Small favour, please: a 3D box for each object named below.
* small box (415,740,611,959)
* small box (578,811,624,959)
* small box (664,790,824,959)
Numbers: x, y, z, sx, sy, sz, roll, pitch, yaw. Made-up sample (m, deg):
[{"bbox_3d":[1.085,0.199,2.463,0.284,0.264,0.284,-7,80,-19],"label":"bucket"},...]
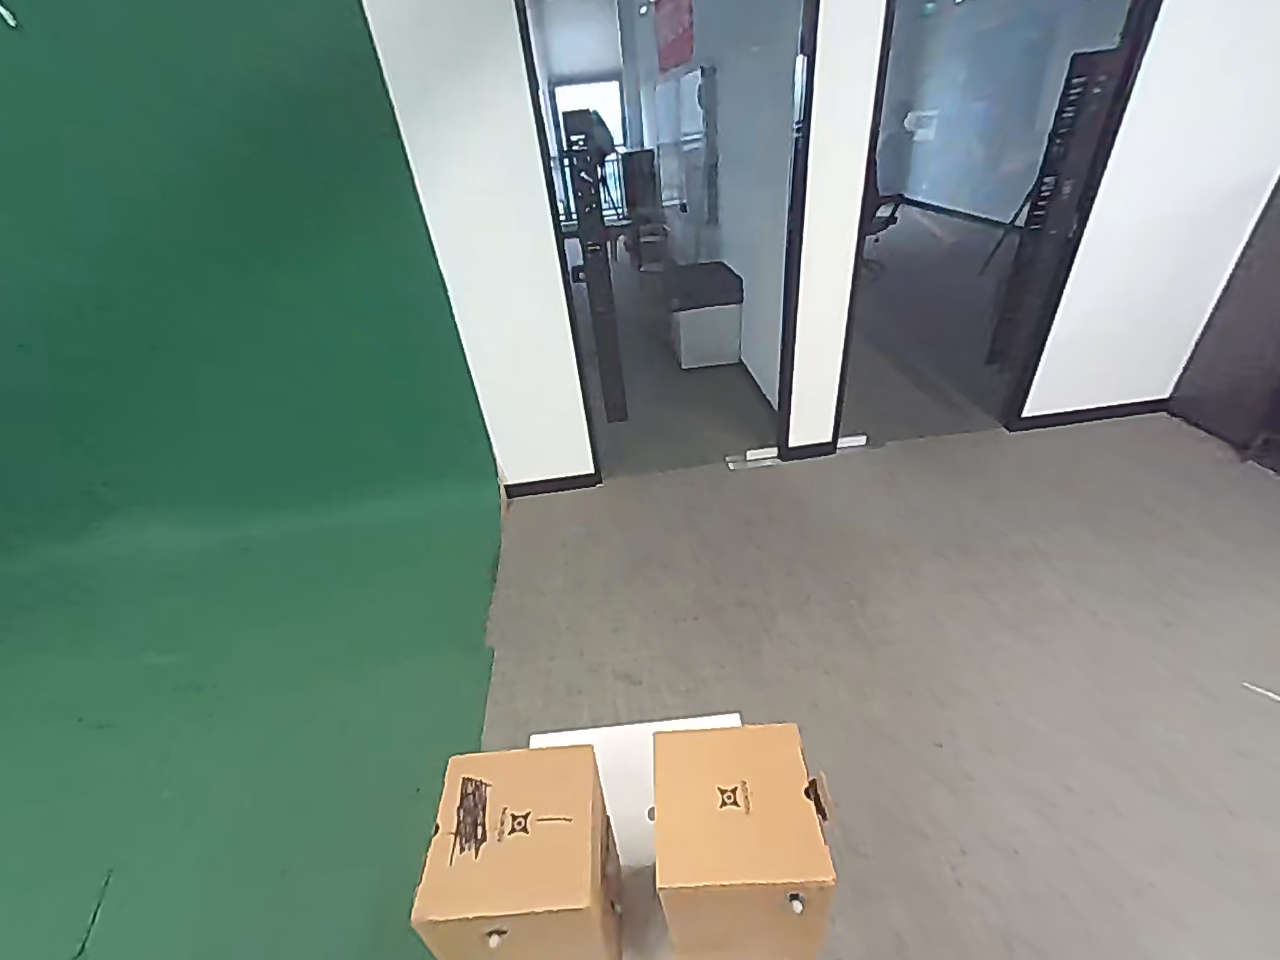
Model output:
[{"bbox_3d":[-0.129,0.432,0.628,0.179,0.176,0.168,-4,35,-1],"label":"small box"},{"bbox_3d":[-0.116,0.570,0.718,0.179,0.176,0.168,-4,35,0],"label":"small box"},{"bbox_3d":[0.129,0.543,0.720,0.179,0.176,0.168,-7,34,2],"label":"small box"}]
